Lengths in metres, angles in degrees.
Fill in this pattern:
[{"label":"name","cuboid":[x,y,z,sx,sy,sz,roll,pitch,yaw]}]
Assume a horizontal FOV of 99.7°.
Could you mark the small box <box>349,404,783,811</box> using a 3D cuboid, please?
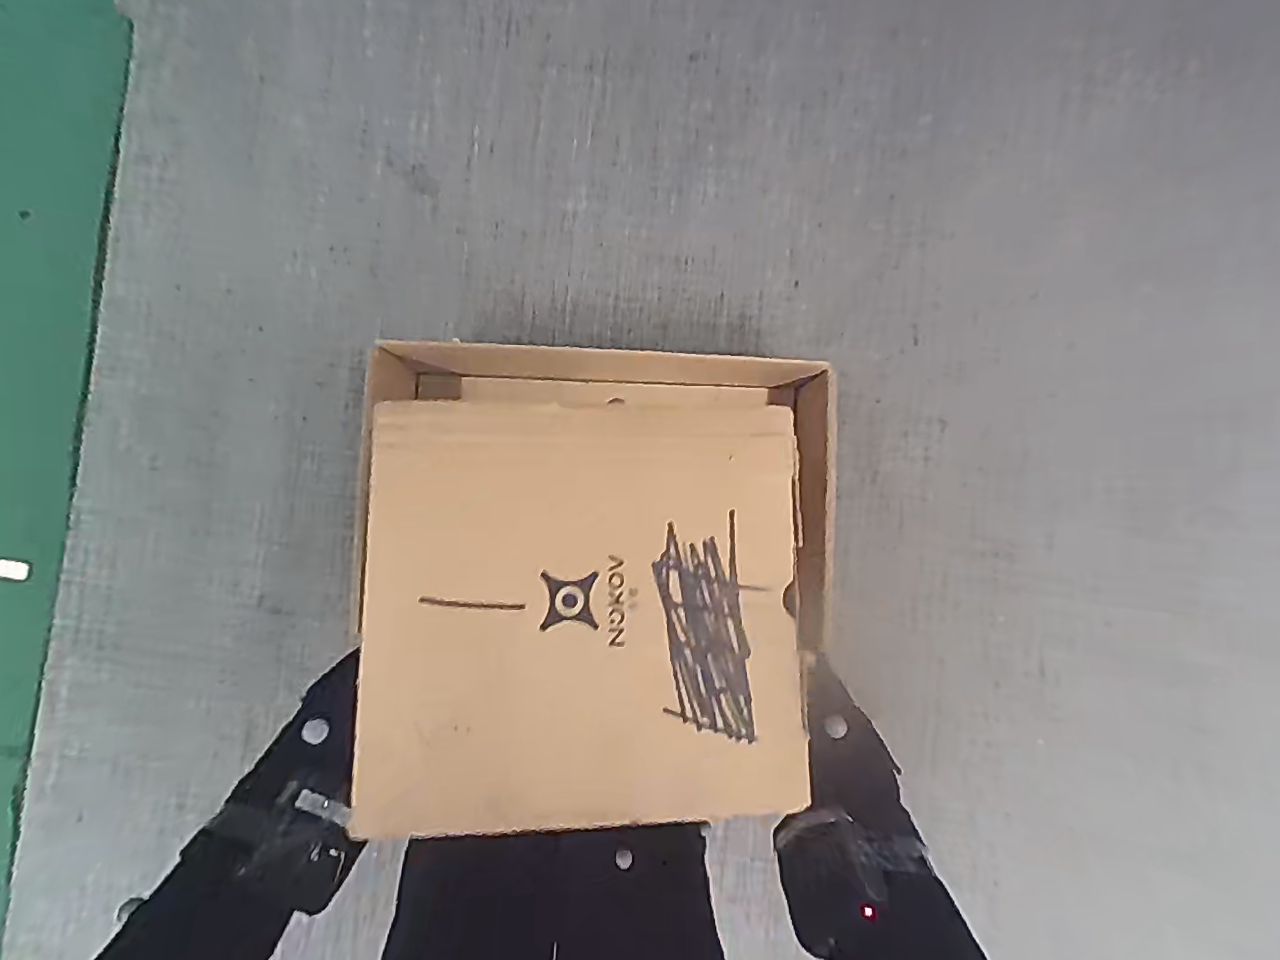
[{"label":"small box","cuboid":[-0.032,0.062,0.307,0.179,0.176,0.168,2,81,-4]}]
